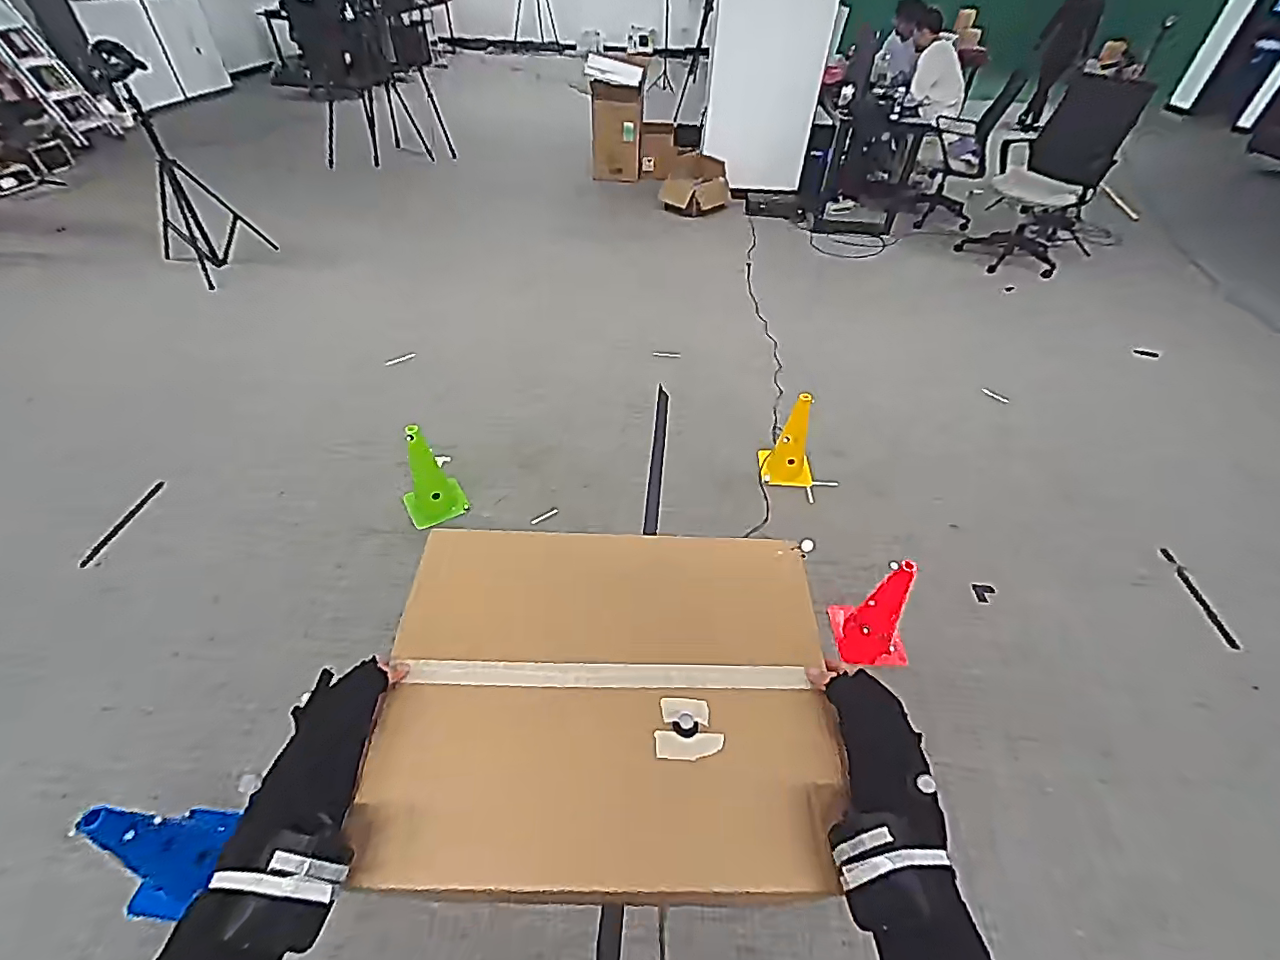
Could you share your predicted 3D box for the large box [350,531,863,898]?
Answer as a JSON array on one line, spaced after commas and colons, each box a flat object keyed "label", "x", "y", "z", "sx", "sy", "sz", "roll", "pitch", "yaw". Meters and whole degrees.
[{"label": "large box", "x": -0.031, "y": 0.275, "z": 0.620, "sx": 0.408, "sy": 0.320, "sz": 0.320, "roll": 3, "pitch": 51, "yaw": -2}]

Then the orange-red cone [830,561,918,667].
[{"label": "orange-red cone", "x": 0.703, "y": 0.352, "z": 1.540, "sx": 0.198, "sy": 0.360, "sz": 0.199, "roll": 3, "pitch": 43, "yaw": 0}]

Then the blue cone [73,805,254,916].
[{"label": "blue cone", "x": -0.987, "y": 0.735, "z": 1.096, "sx": 0.192, "sy": 0.380, "sz": 0.193, "roll": 6, "pitch": 44, "yaw": 5}]

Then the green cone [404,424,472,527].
[{"label": "green cone", "x": -0.743, "y": -0.046, "z": 1.878, "sx": 0.202, "sy": 0.368, "sz": 0.200, "roll": -24, "pitch": 50, "yaw": -23}]
